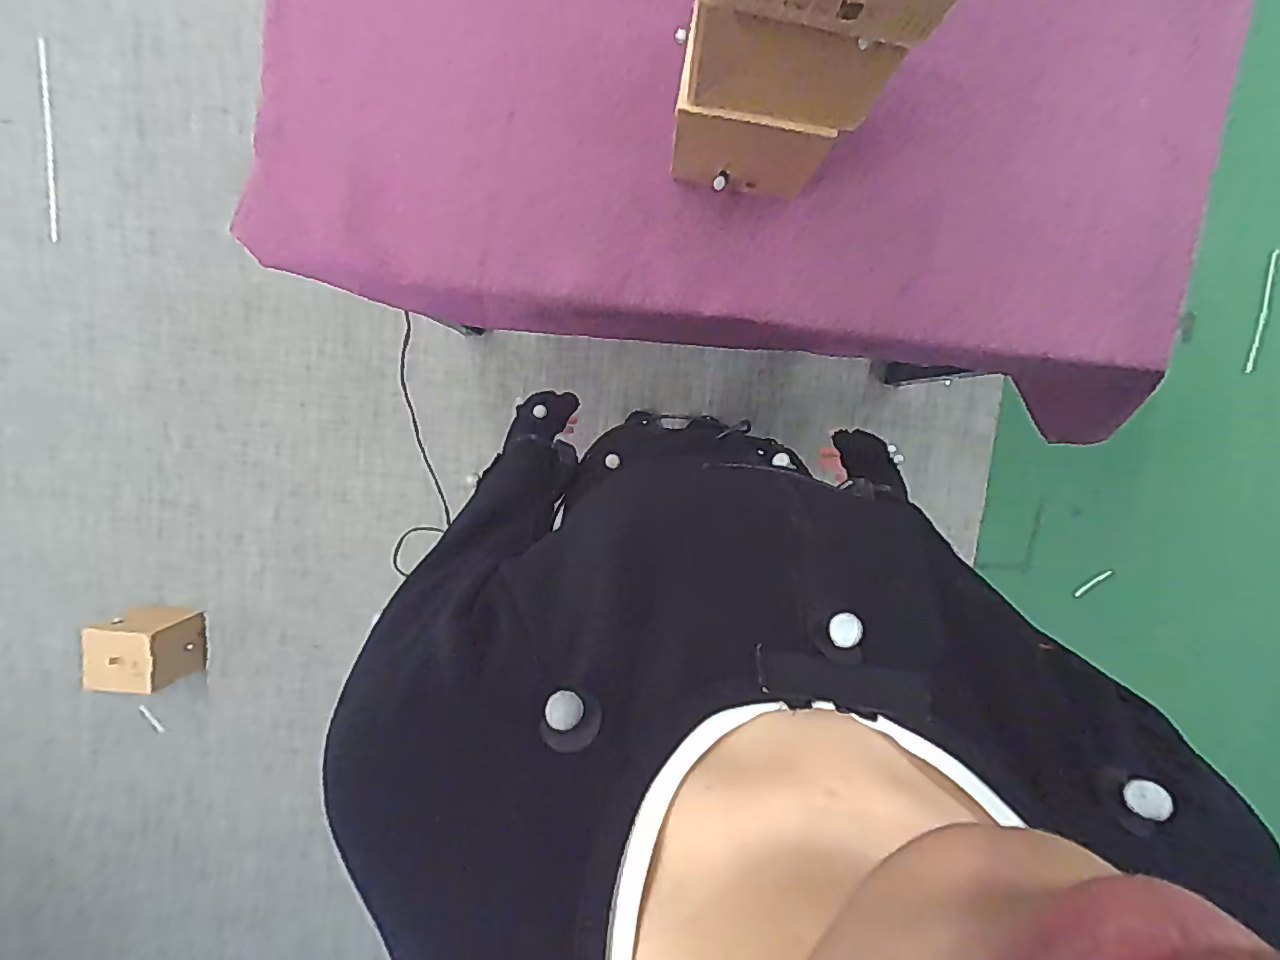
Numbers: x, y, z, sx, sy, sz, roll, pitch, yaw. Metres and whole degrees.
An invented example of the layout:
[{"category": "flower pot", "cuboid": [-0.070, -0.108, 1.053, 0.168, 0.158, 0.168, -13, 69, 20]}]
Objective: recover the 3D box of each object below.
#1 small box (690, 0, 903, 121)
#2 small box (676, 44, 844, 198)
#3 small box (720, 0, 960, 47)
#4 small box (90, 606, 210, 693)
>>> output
[{"category": "small box", "cuboid": [0.141, -0.431, 0.443, 0.179, 0.176, 0.168, 9, 97, 0]}, {"category": "small box", "cuboid": [0.136, -0.450, 0.604, 0.168, 0.176, 0.179, 11, 97, 0]}, {"category": "small box", "cuboid": [0.137, -0.389, 0.283, 0.168, 0.176, 0.179, 12, 96, 0]}, {"category": "small box", "cuboid": [-1.310, 0.448, 1.454, 0.179, 0.176, 0.168, 5, 97, -1]}]
